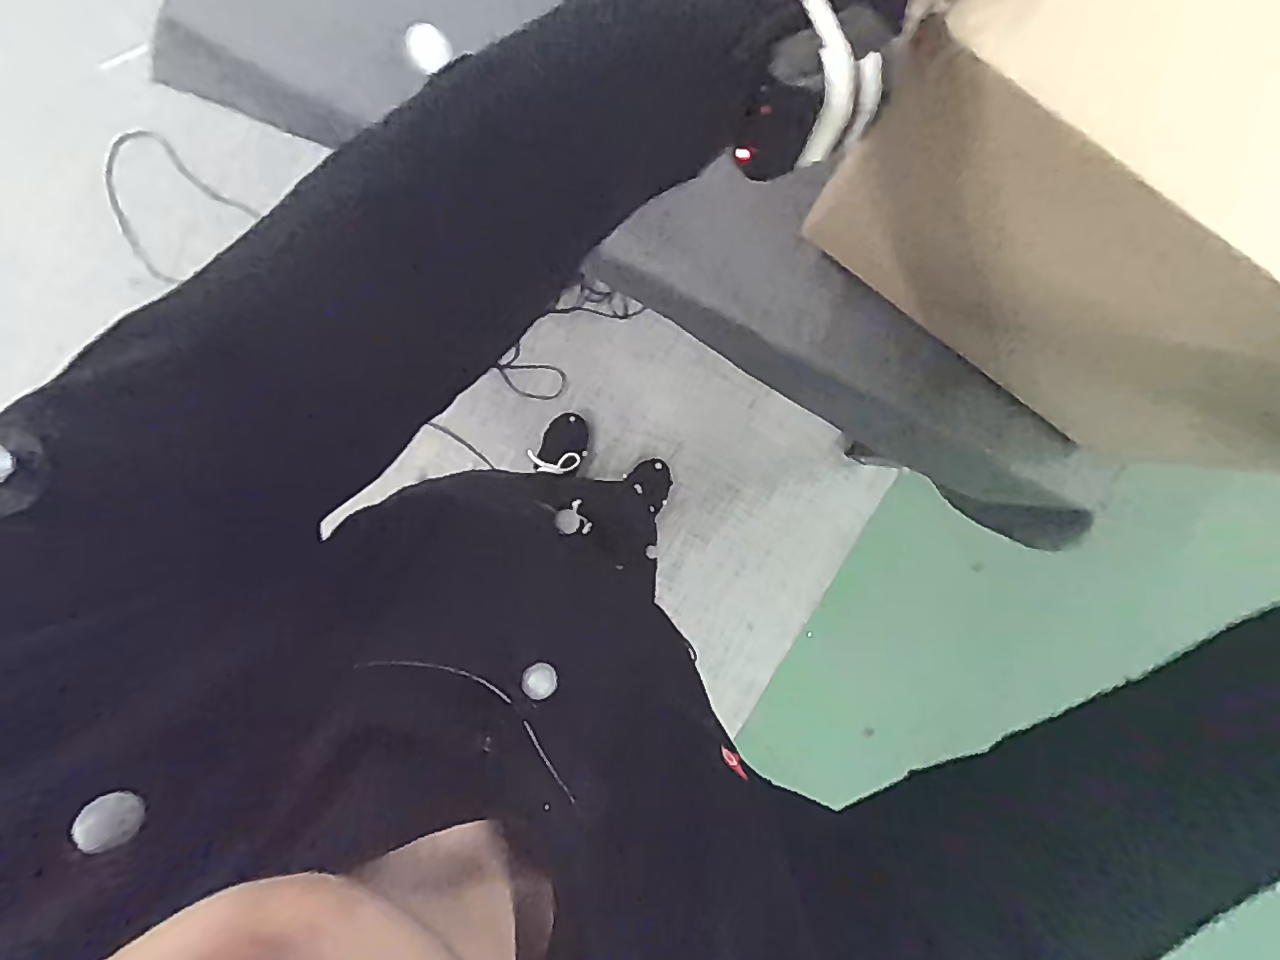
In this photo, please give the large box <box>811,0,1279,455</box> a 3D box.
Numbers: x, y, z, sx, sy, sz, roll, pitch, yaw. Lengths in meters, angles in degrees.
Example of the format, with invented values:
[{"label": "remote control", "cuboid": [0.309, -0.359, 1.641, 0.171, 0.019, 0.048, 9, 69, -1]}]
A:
[{"label": "large box", "cuboid": [0.411, -0.254, 0.400, 0.408, 0.320, 0.320, 36, 98, -2]}]
